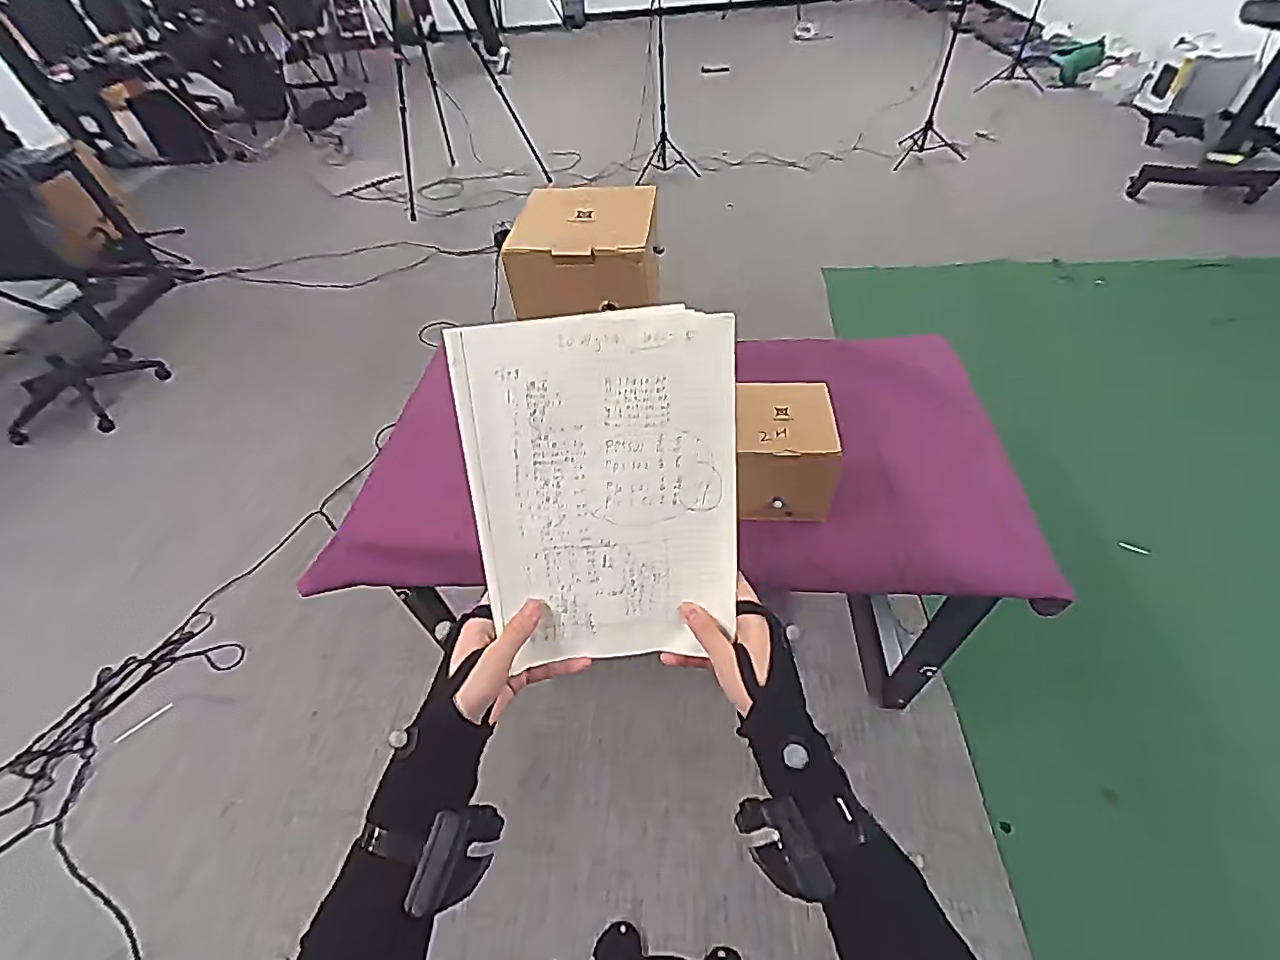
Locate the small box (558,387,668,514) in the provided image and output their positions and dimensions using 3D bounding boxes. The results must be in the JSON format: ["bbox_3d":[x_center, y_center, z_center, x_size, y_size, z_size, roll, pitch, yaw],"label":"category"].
[{"bbox_3d":[-0.038,-0.054,0.974,0.168,0.176,0.179,2,50,6],"label":"small box"}]

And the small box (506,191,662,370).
[{"bbox_3d":[-0.059,-0.262,0.721,0.168,0.176,0.179,3,49,6],"label":"small box"}]

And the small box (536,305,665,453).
[{"bbox_3d":[-0.049,-0.158,0.846,0.168,0.176,0.179,2,48,6],"label":"small box"}]
